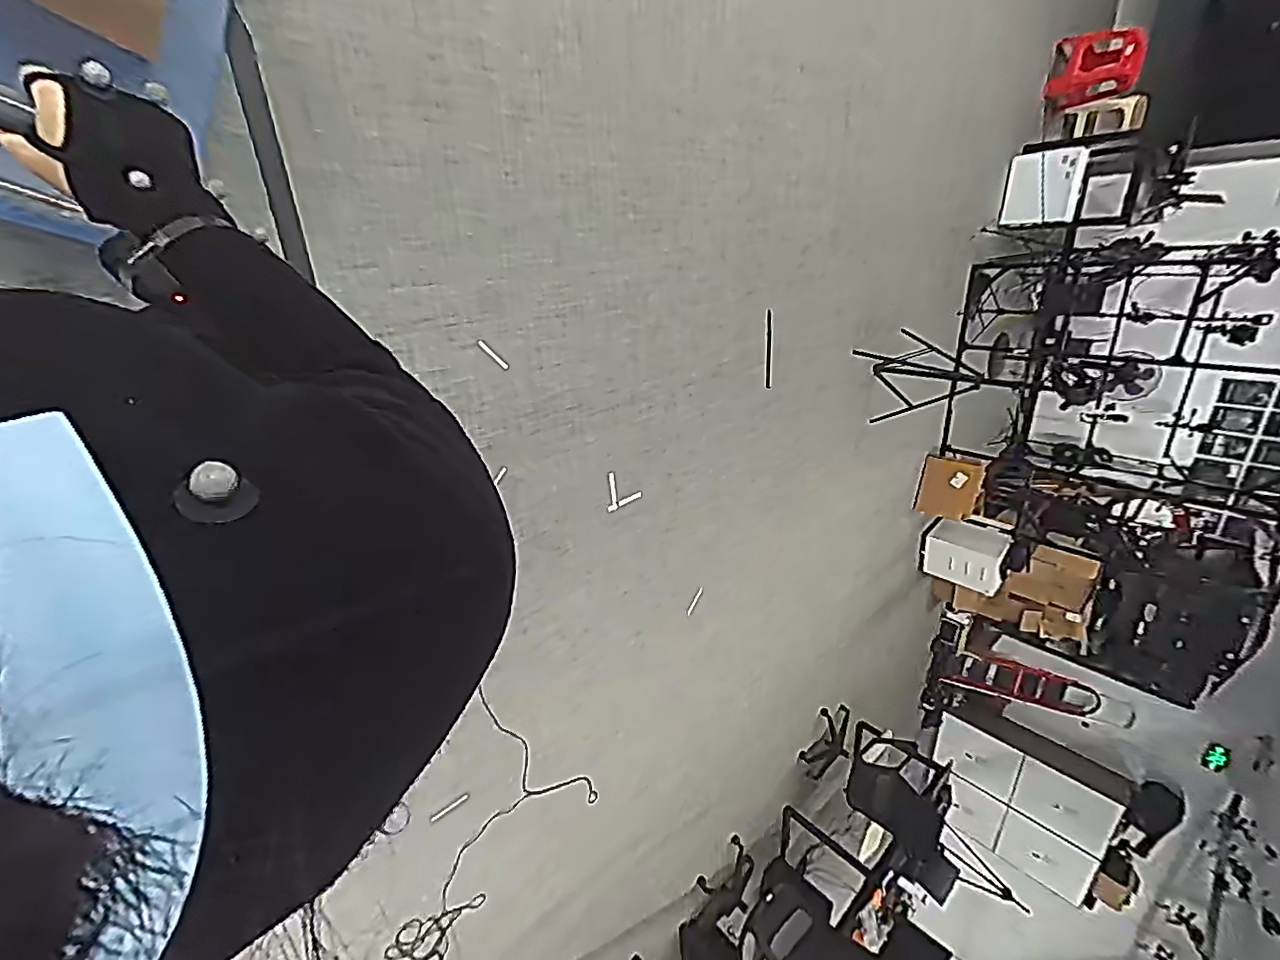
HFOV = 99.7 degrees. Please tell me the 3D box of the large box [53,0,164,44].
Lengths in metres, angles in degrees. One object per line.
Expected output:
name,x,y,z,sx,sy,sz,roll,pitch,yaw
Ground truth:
large box,-0.800,-0.830,0.625,0.408,0.320,0.320,10,97,-45
